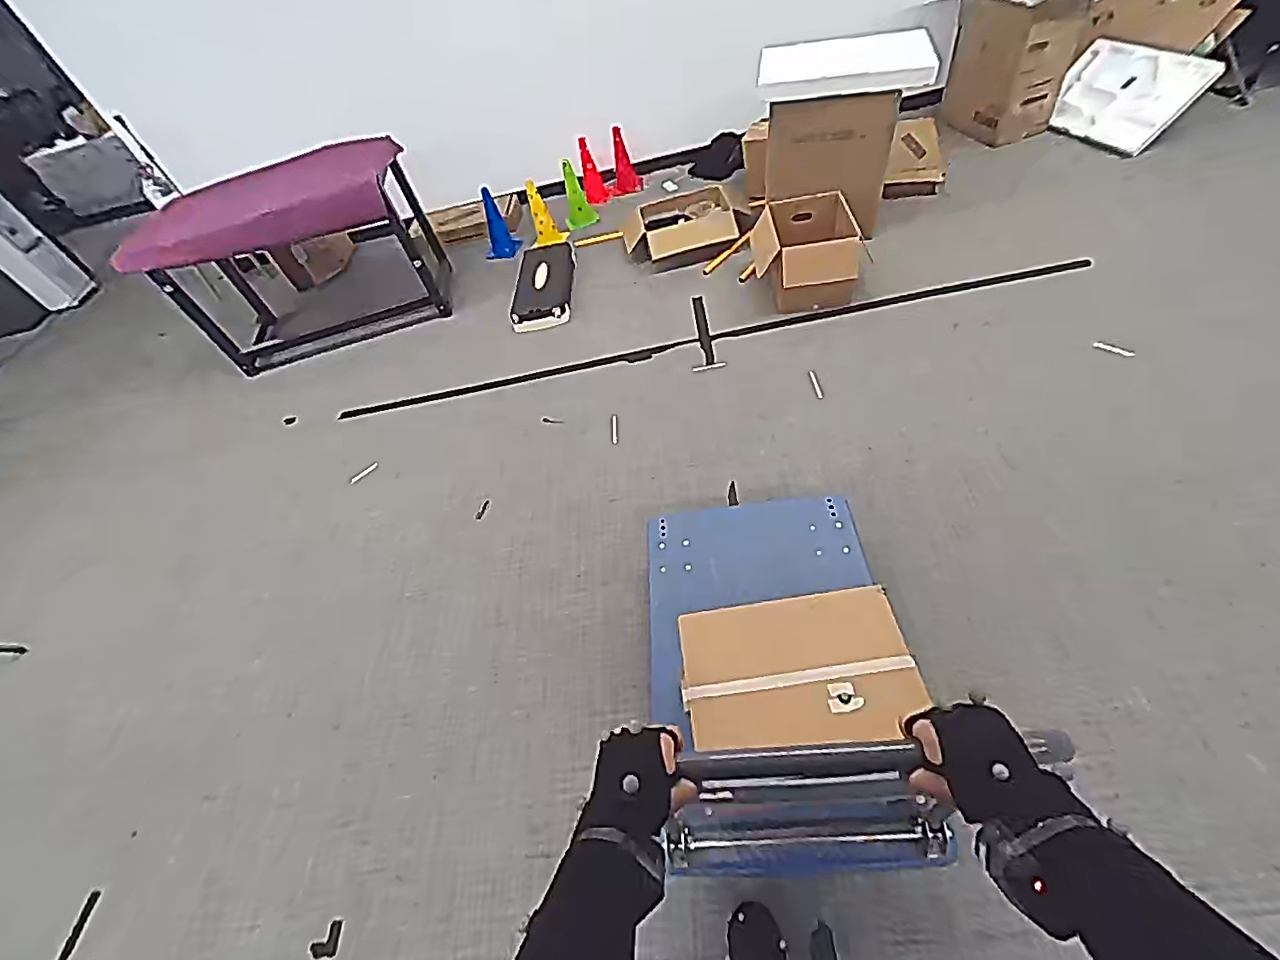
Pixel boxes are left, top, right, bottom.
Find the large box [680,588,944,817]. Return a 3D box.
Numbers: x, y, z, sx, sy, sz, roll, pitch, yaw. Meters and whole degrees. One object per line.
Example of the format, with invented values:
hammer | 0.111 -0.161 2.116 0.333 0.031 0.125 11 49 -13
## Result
large box | 0.312 0.458 1.096 0.408 0.320 0.320 -10 50 4
